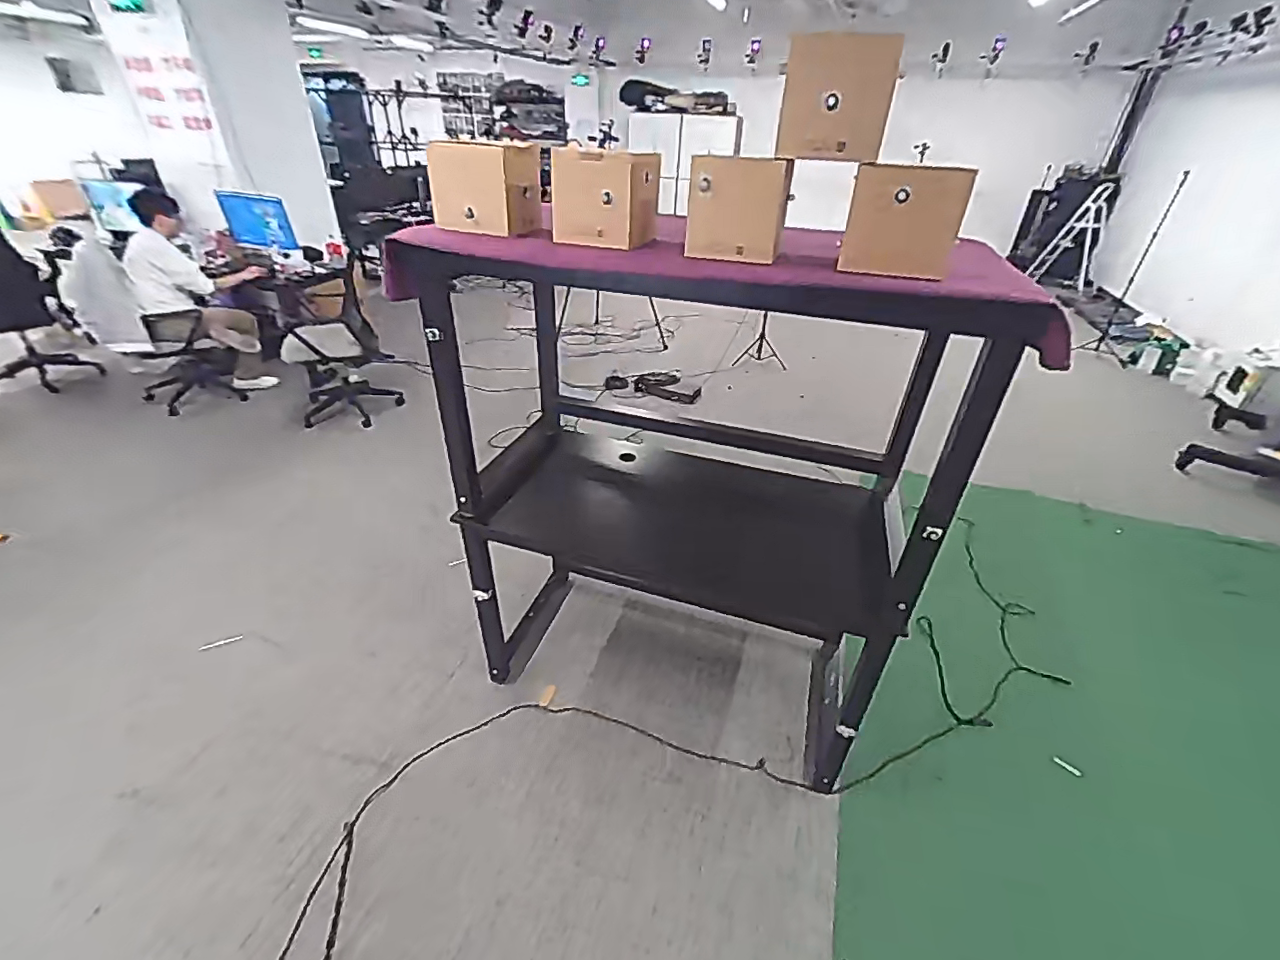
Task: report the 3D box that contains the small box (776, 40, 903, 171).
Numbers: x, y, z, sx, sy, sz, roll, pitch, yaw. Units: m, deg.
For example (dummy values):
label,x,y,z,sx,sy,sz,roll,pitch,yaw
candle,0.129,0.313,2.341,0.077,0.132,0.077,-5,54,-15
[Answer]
label,x,y,z,sx,sy,sz,roll,pitch,yaw
small box,0.330,-0.622,0.914,0.168,0.176,0.179,12,32,14

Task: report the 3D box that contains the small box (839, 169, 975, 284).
label,x,y,z,sx,sy,sz,roll,pitch,yaw
small box,0.459,-0.450,0.959,0.179,0.176,0.168,12,32,15

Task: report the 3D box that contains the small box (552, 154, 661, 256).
label,x,y,z,sx,sy,sz,roll,pitch,yaw
small box,-0.063,-0.561,1.100,0.168,0.176,0.179,14,33,16

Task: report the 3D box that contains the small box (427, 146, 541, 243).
label,x,y,z,sx,sy,sz,roll,pitch,yaw
small box,-0.324,-0.615,1.164,0.179,0.176,0.168,12,33,12
